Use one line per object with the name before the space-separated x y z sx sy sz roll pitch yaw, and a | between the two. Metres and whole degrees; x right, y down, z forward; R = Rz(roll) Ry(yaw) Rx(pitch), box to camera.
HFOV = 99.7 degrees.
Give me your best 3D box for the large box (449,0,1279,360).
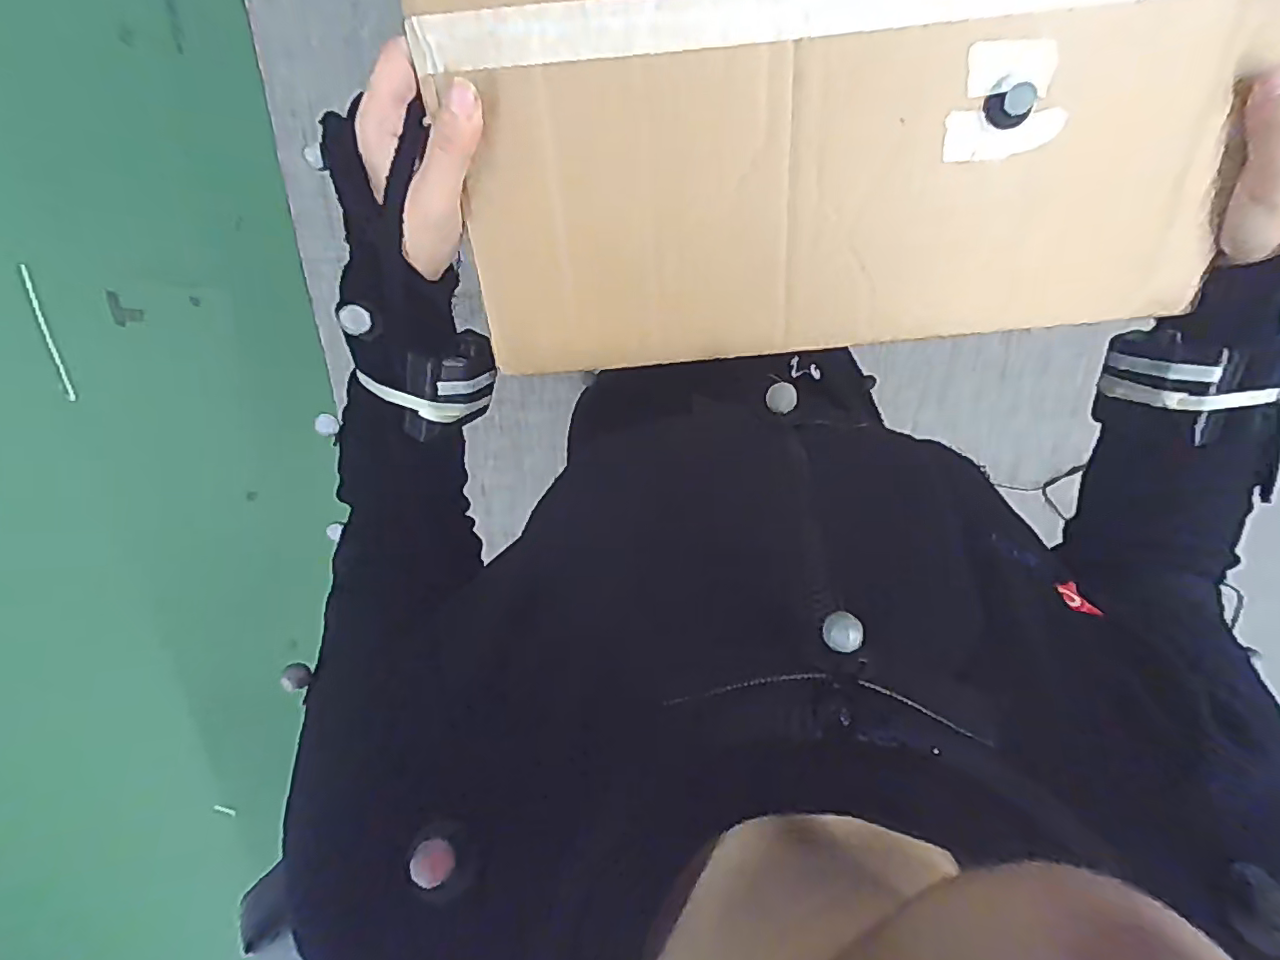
large box | 0.100 -0.296 0.384 0.408 0.320 0.320 -6 118 0
